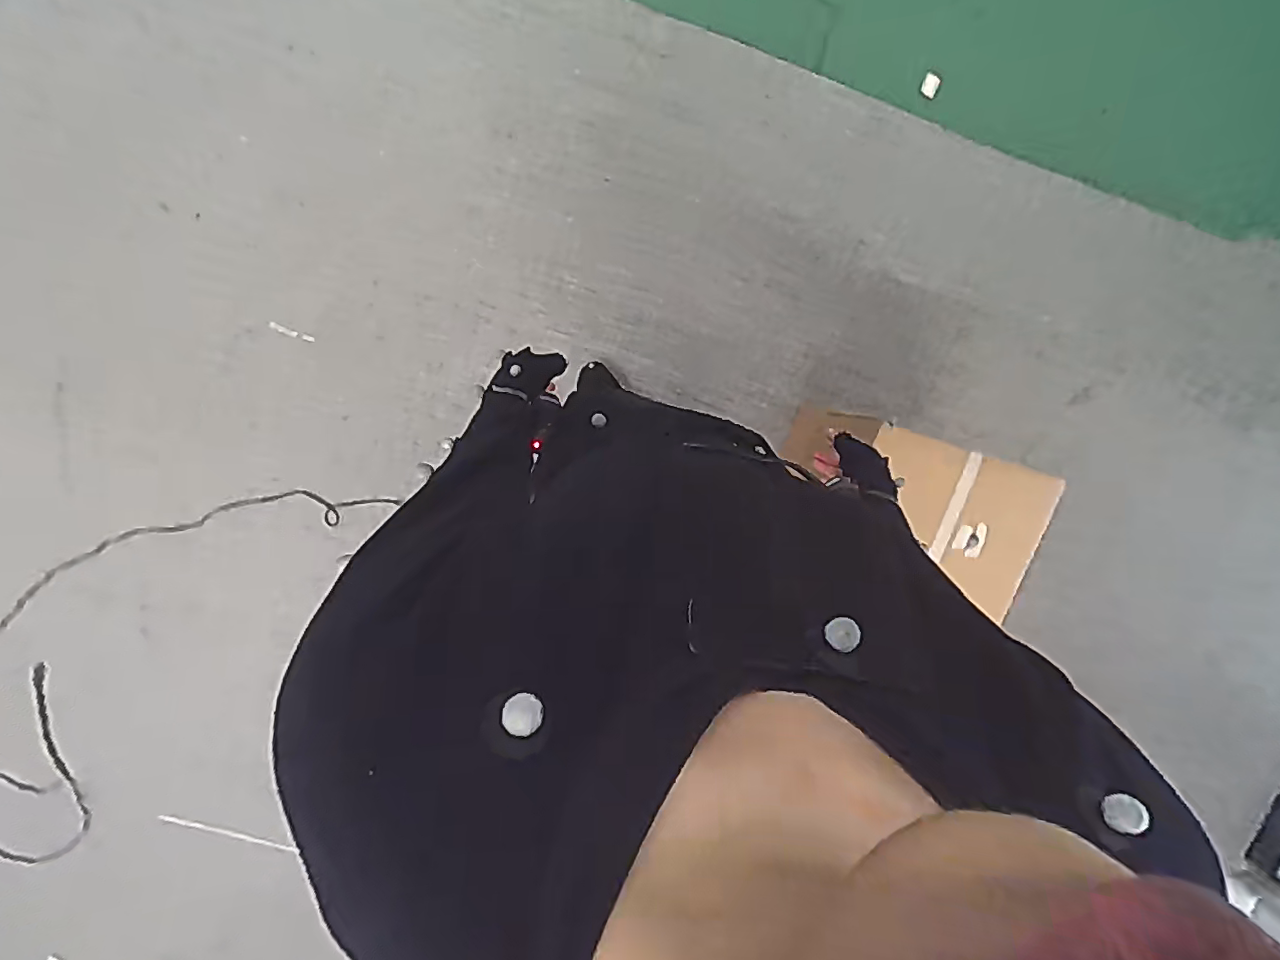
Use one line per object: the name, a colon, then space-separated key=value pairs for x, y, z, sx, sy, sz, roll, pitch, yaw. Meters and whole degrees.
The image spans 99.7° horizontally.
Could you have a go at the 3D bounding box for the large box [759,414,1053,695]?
large box: x=0.455 y=0.112 z=1.024 sx=0.320 sy=0.320 sz=0.408 roll=18 pitch=98 yaw=-1
